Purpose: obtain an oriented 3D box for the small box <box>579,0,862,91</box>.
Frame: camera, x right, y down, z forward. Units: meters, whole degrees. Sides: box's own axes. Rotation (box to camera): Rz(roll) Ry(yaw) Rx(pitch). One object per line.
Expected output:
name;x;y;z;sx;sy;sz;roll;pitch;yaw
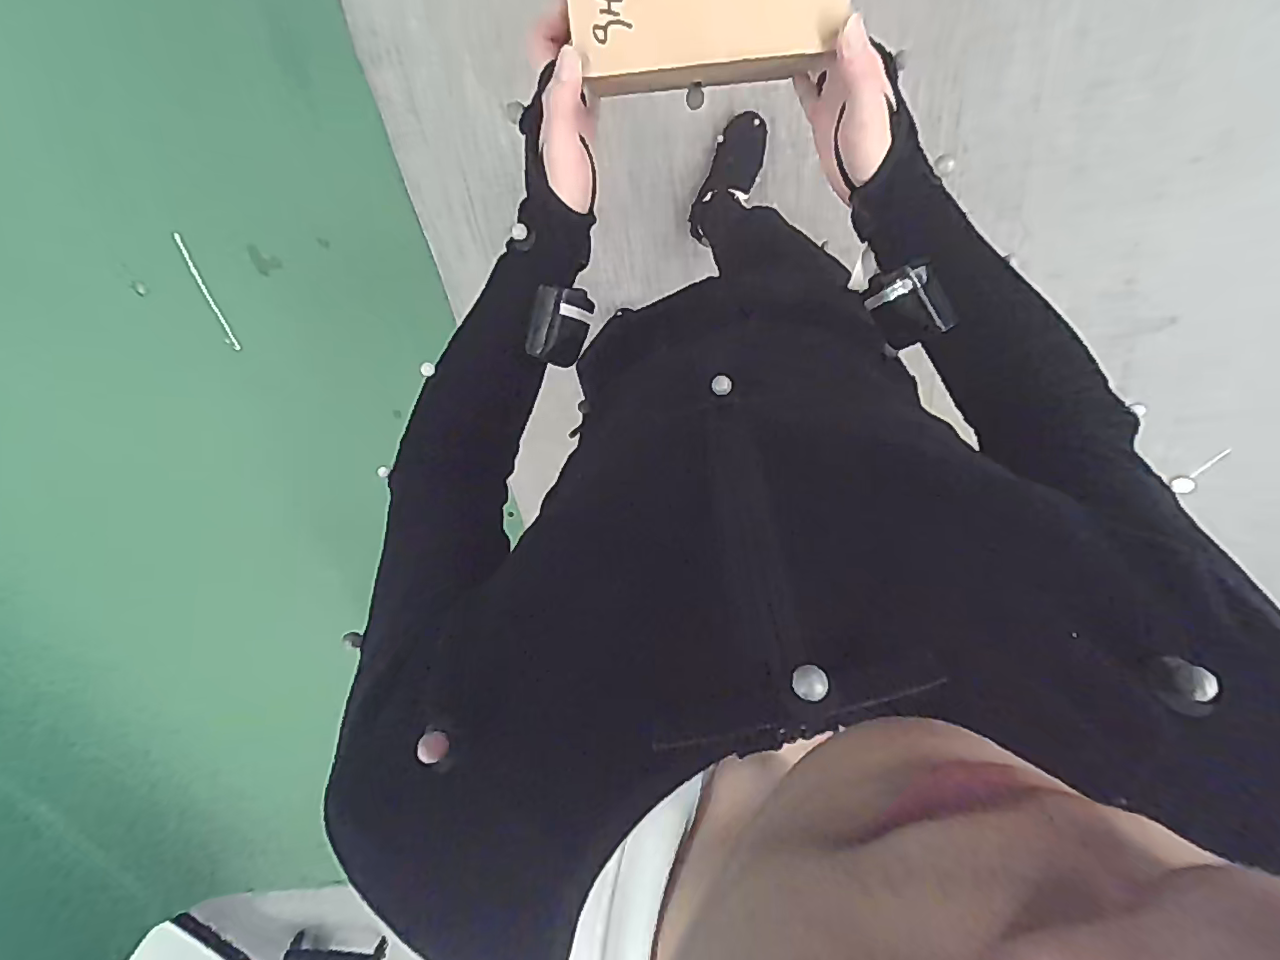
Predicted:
small box;0.045;-0.380;0.370;0.179;0.176;0.168;-4;121;3
